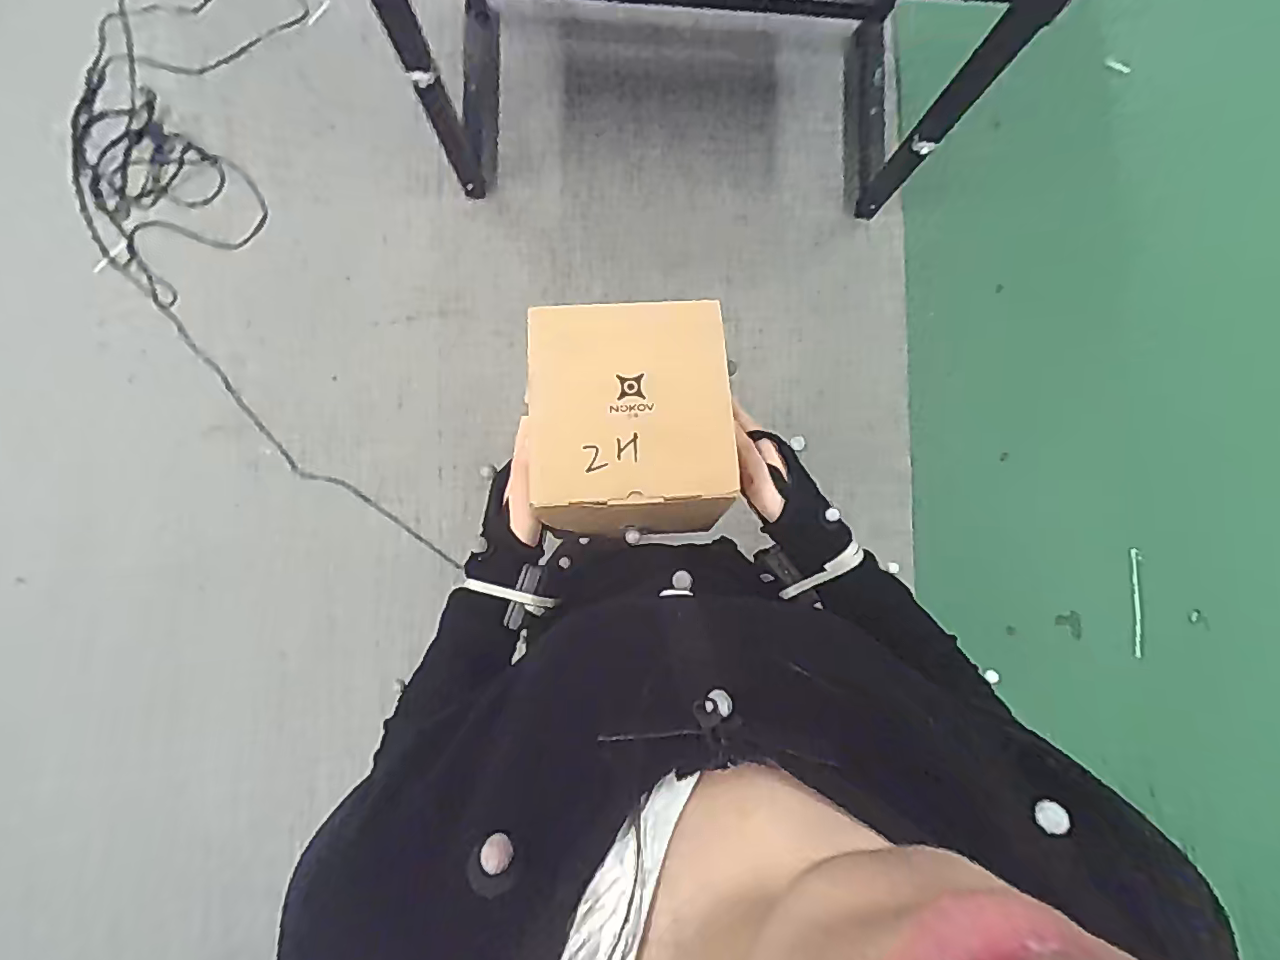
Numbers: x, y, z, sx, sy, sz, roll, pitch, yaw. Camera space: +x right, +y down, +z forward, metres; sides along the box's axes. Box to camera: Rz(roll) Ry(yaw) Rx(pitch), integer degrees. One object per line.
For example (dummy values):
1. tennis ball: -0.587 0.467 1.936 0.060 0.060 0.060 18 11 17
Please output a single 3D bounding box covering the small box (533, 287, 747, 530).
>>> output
1. small box: -0.005 -0.056 0.507 0.168 0.176 0.179 -3 75 -2
